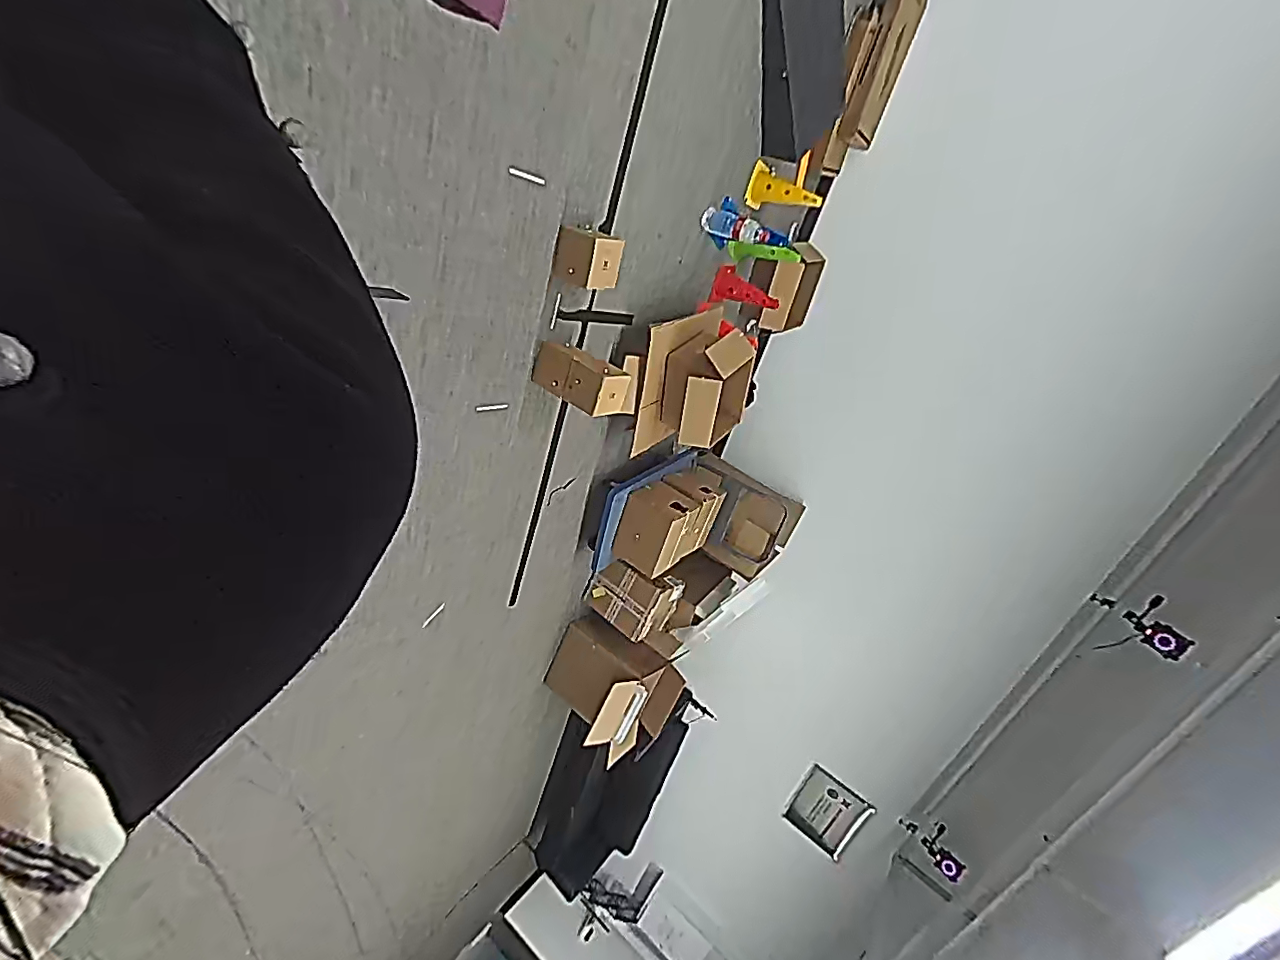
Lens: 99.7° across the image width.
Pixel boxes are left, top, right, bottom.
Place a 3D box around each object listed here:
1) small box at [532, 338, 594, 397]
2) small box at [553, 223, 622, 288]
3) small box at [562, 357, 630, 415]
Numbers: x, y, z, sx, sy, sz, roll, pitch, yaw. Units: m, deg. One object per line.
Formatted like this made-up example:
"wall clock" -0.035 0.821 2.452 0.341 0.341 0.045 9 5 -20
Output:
"small box" -0.307 -0.448 2.165 0.168 0.176 0.179 -15 132 -57
"small box" -0.194 -0.812 1.959 0.168 0.176 0.179 -28 140 -50
"small box" -0.174 -0.373 2.108 0.179 0.176 0.168 -19 136 -53
